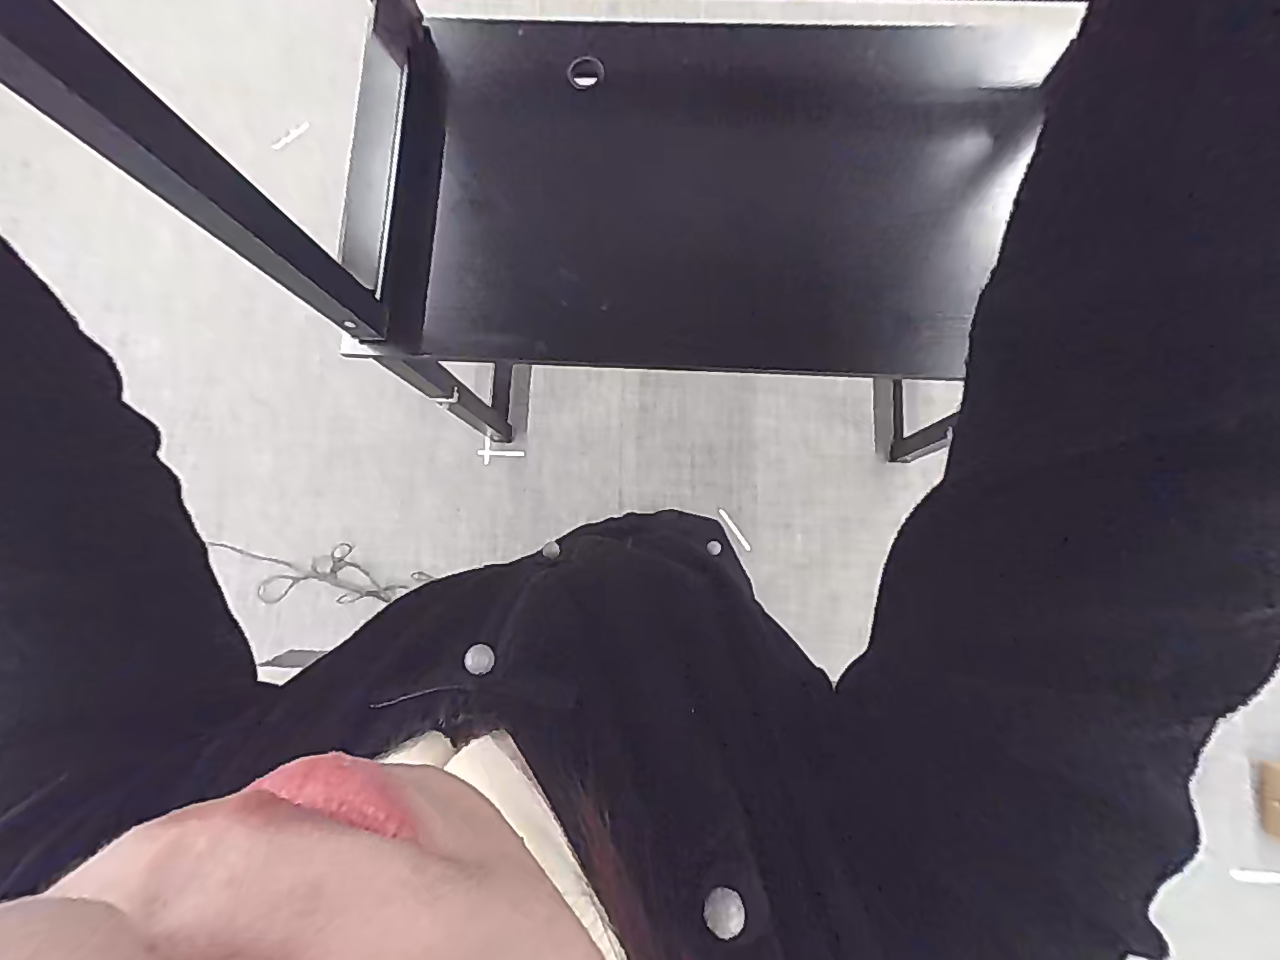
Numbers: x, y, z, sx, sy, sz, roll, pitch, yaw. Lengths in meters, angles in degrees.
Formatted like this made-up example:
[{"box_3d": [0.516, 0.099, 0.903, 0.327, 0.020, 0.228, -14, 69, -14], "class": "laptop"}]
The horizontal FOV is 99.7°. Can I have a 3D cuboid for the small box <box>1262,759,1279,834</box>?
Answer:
[{"box_3d": [1.647, 0.791, 1.278, 0.168, 0.176, 0.179, 3, 83, 2], "class": "small box"}]
